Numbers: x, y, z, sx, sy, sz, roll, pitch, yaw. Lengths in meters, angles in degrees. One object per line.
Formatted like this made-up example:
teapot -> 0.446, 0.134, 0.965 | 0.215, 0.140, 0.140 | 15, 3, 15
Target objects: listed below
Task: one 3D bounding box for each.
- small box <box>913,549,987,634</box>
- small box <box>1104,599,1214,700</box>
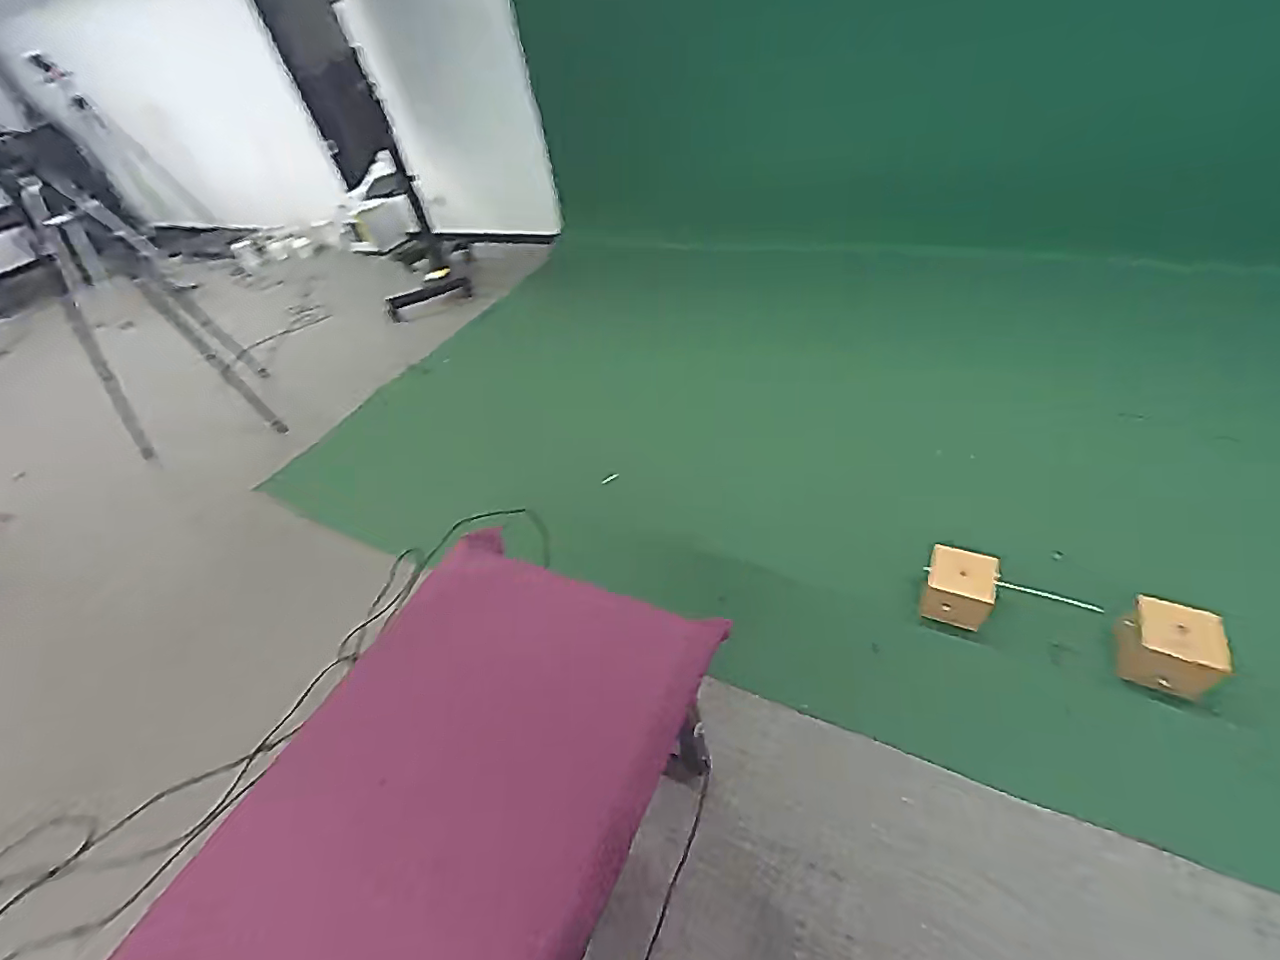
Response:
small box -> 0.971, 0.353, 1.701 | 0.168, 0.176, 0.179 | 14, 48, 25
small box -> 1.412, 0.466, 1.486 | 0.168, 0.176, 0.179 | 15, 49, 25
